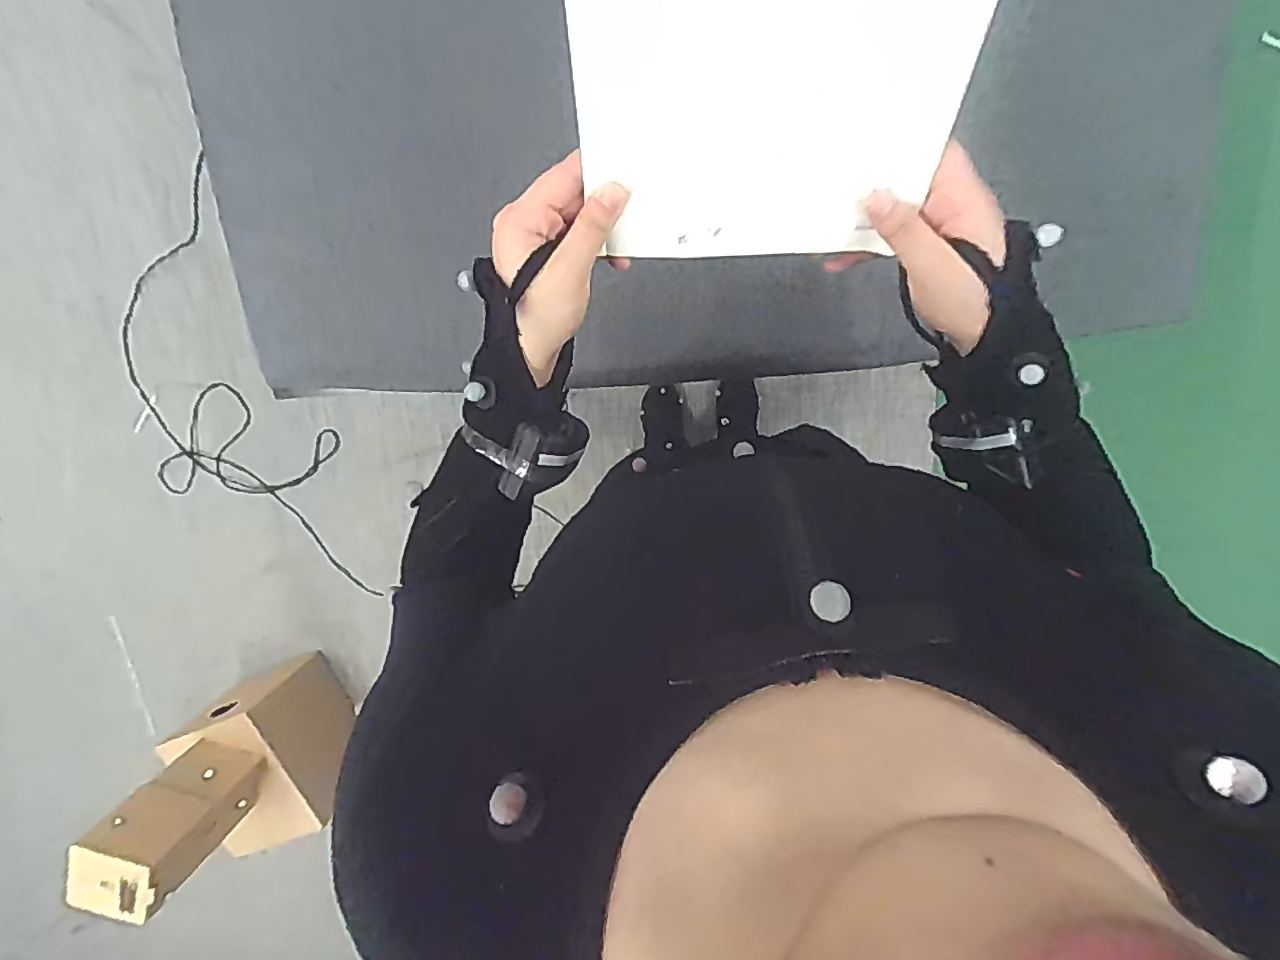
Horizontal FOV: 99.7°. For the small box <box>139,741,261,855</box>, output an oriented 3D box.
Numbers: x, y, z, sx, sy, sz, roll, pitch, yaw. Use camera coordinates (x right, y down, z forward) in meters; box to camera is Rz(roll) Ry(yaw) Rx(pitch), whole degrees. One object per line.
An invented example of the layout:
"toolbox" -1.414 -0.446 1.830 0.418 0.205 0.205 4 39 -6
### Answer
"small box" -1.109 0.799 1.375 0.179 0.176 0.168 17 103 -2
